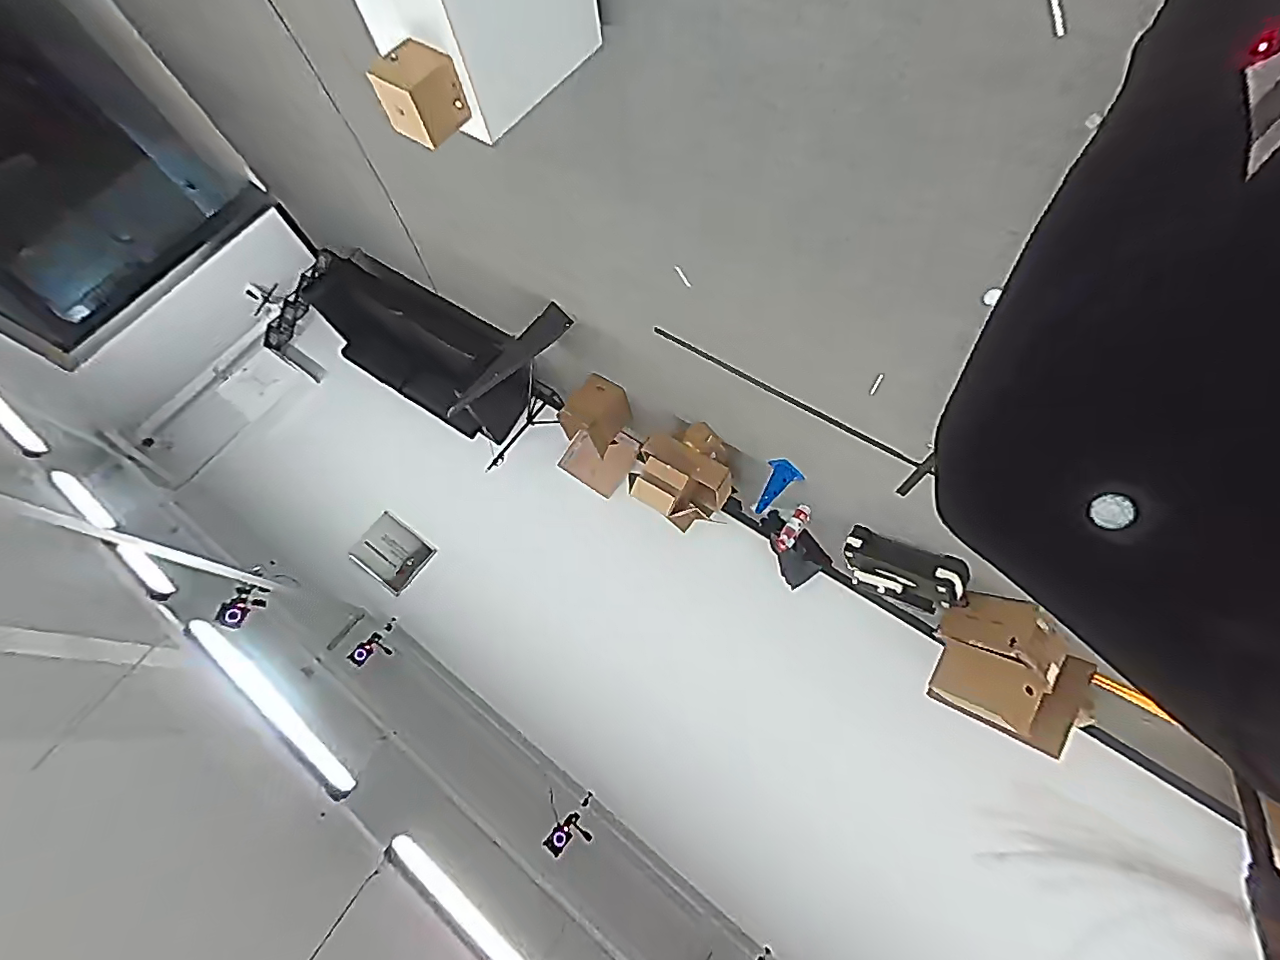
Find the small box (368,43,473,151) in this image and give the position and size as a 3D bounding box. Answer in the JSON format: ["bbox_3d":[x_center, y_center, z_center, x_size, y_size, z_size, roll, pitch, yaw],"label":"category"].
[{"bbox_3d":[-0.604,-1.072,1.509,0.179,0.176,0.168,34,165,16],"label":"small box"}]
